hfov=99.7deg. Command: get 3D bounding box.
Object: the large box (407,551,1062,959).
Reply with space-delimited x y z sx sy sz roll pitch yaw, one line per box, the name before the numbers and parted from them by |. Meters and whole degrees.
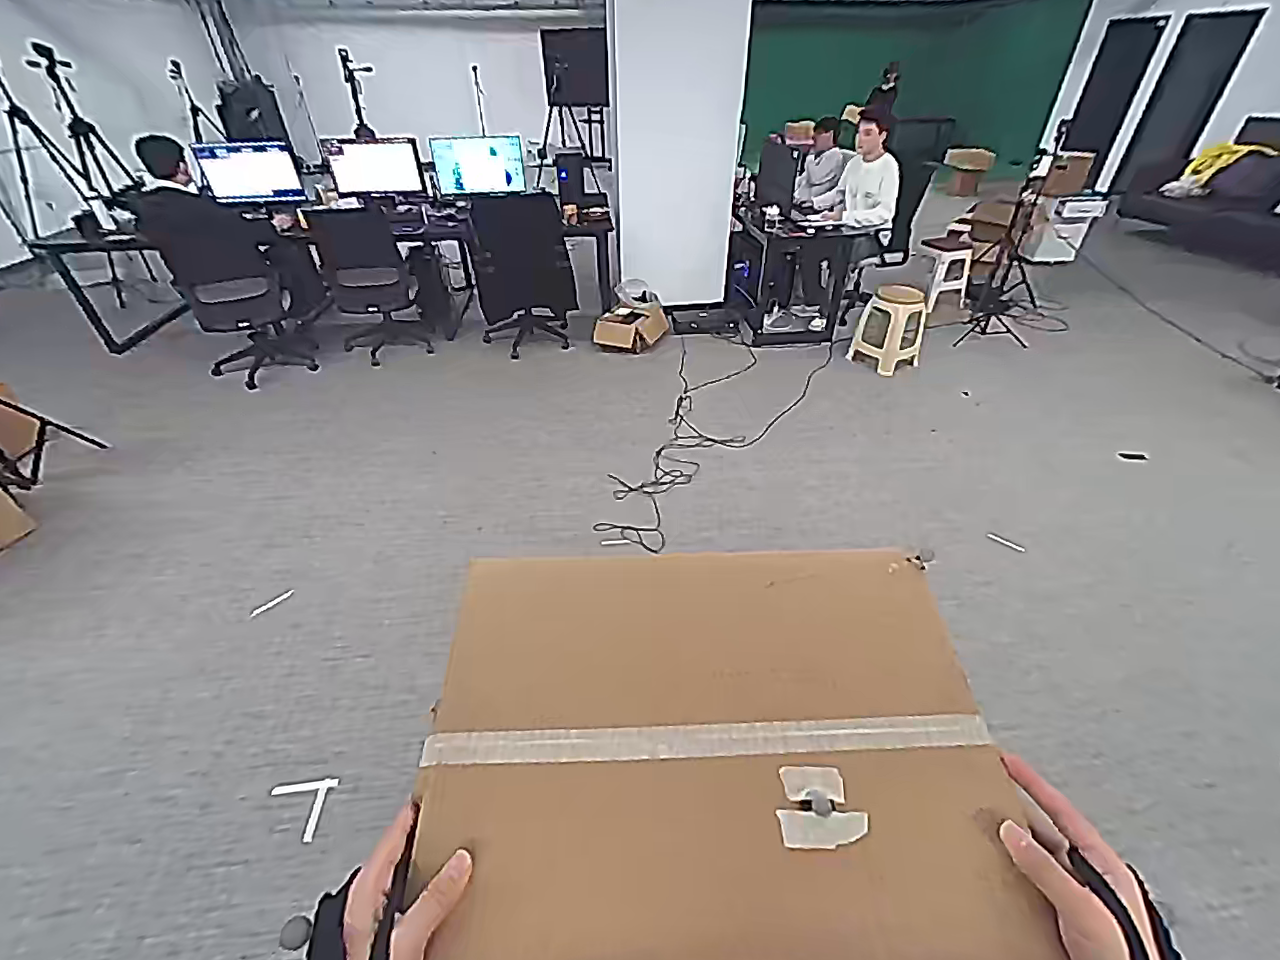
large box | 0.049 0.284 0.520 0.408 0.320 0.320 -1 52 -1
